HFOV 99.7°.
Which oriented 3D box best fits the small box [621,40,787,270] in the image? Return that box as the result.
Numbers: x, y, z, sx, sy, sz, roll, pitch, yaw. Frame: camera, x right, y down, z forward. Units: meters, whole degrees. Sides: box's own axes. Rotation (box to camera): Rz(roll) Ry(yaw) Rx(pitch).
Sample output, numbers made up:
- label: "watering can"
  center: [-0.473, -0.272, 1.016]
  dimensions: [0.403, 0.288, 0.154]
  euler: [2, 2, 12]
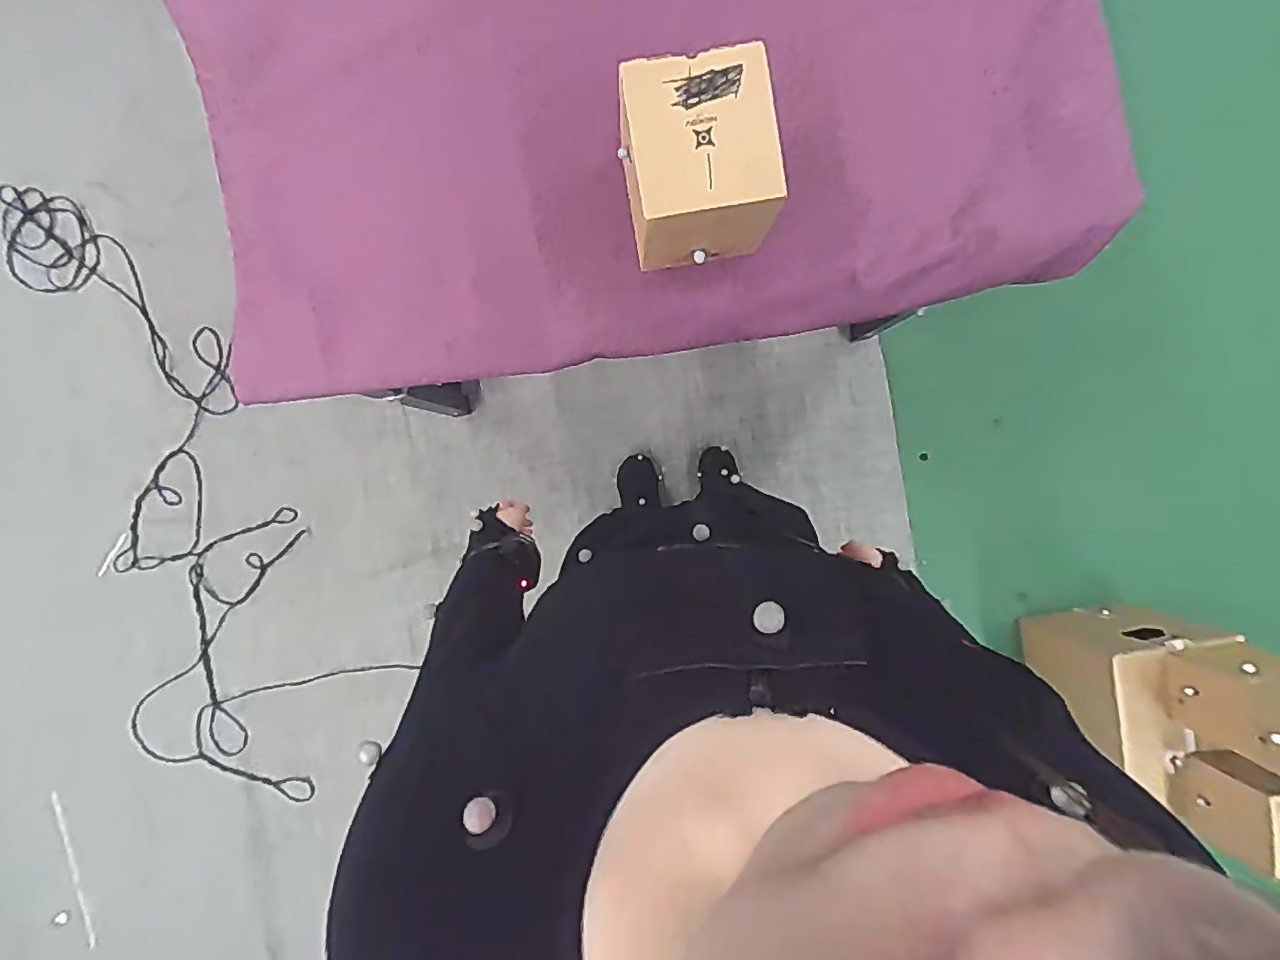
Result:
- label: "small box"
  center: [0.069, -0.387, 0.673]
  dimensions: [0.168, 0.176, 0.179]
  euler: [-9, 92, 0]

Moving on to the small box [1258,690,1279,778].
- label: "small box"
  center: [1.283, 0.479, 0.962]
  dimensions: [0.179, 0.176, 0.168]
  euler: [-10, 92, 0]

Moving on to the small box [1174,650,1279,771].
- label: "small box"
  center: [1.283, 0.470, 1.127]
  dimensions: [0.179, 0.176, 0.168]
  euler: [-9, 93, 0]

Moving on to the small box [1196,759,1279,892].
- label: "small box"
  center: [1.327, 0.715, 1.132]
  dimensions: [0.168, 0.176, 0.179]
  euler: [-4, 91, -1]

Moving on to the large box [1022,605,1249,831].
- label: "large box"
  center: [1.248, 0.574, 1.372]
  dimensions: [0.320, 0.320, 0.408]
  euler: [-9, 93, 1]
